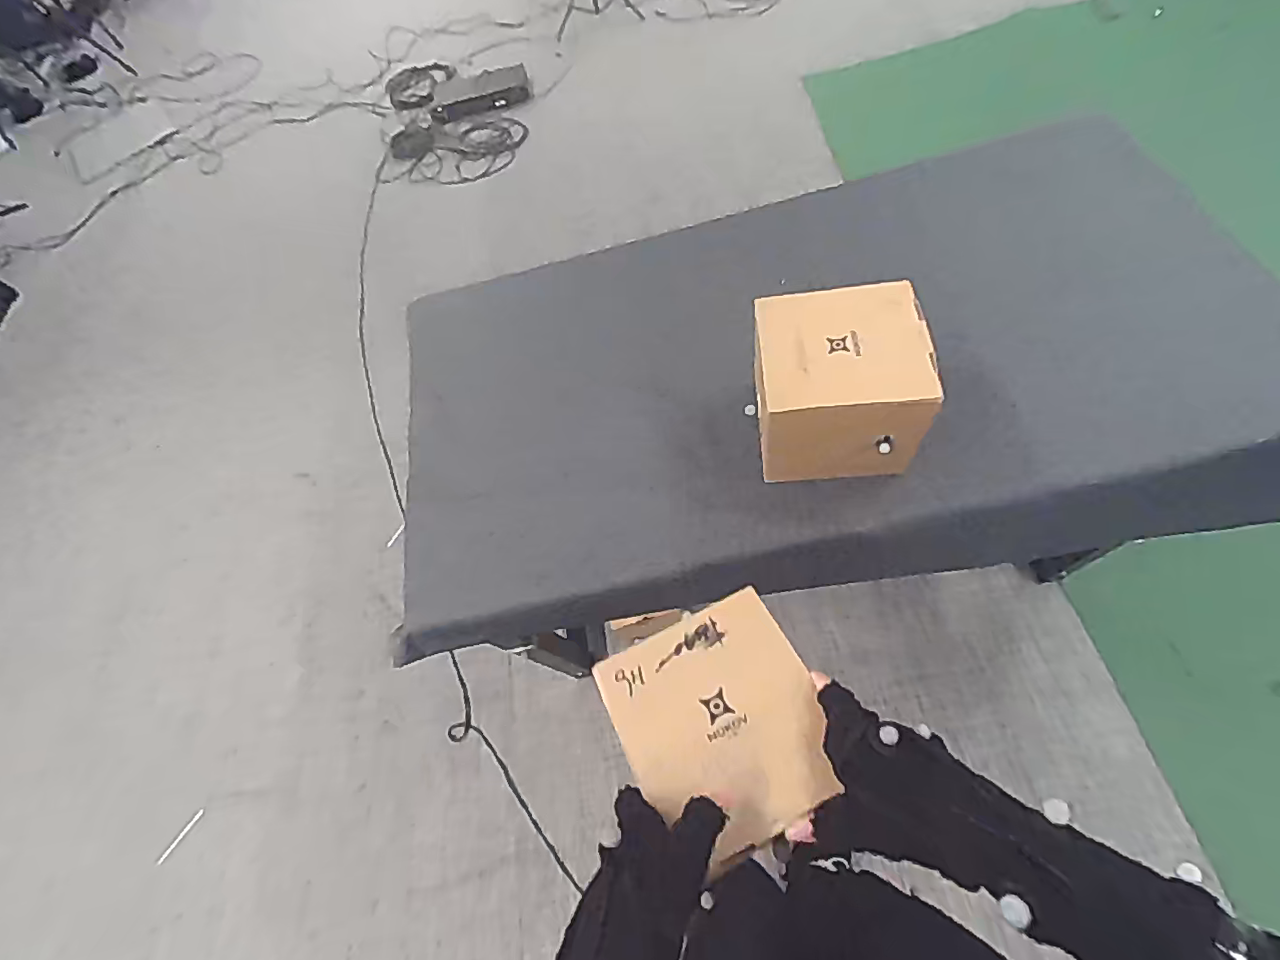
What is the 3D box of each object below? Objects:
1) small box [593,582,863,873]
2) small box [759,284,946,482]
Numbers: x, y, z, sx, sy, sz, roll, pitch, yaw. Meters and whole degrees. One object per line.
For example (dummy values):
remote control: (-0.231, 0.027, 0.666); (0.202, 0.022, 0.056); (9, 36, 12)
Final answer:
small box: (0.076, 0.232, 0.512); (0.168, 0.176, 0.179); (-24, 56, -7)
small box: (0.241, -0.109, 0.663); (0.179, 0.176, 0.168); (-4, 62, 11)
